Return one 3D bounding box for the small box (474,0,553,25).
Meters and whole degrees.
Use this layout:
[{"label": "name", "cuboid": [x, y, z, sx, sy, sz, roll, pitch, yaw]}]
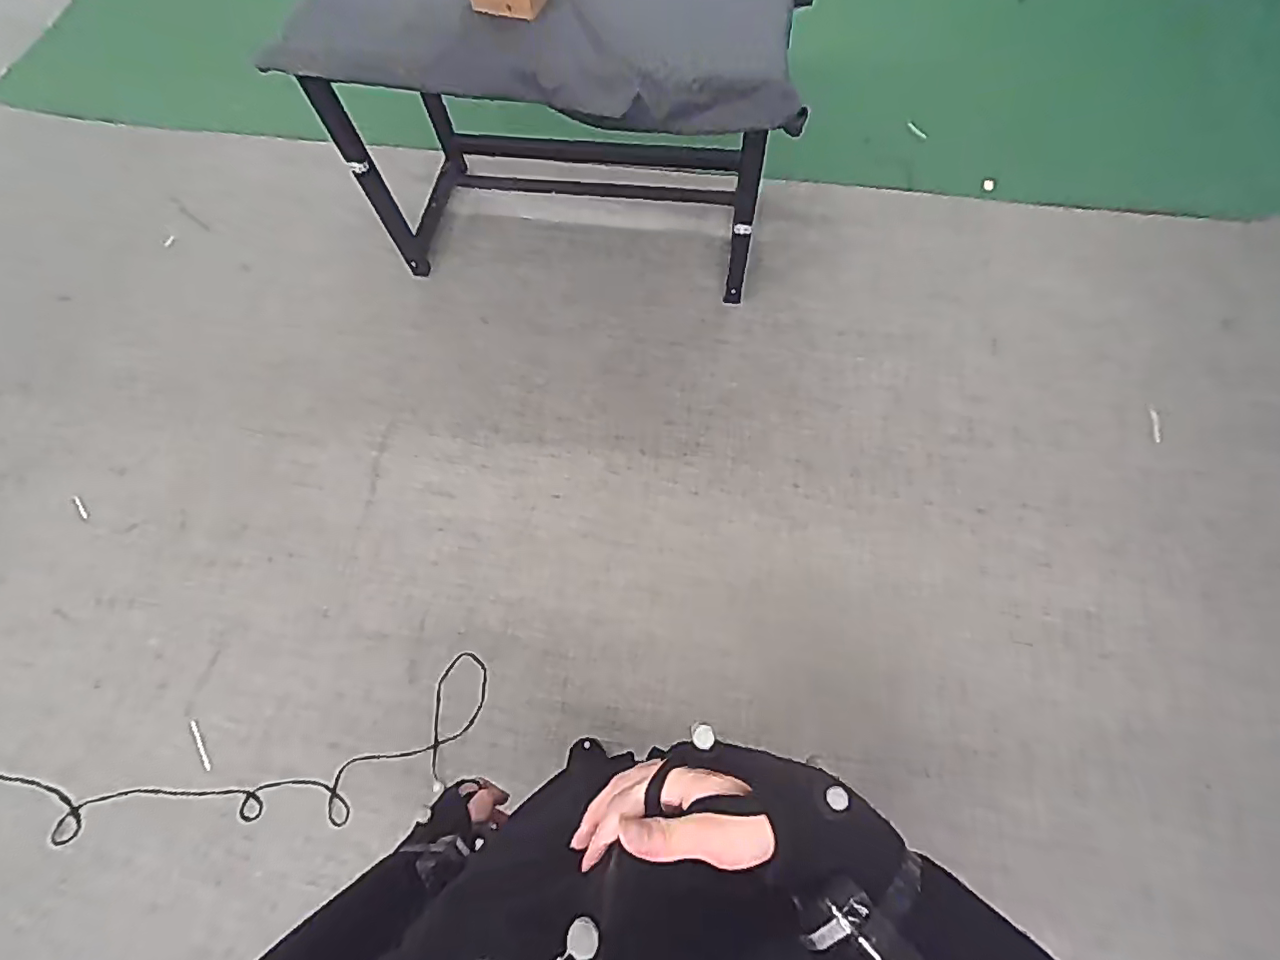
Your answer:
[{"label": "small box", "cuboid": [-0.302, -1.218, 1.270, 0.168, 0.176, 0.179, 17, 70, 9]}]
